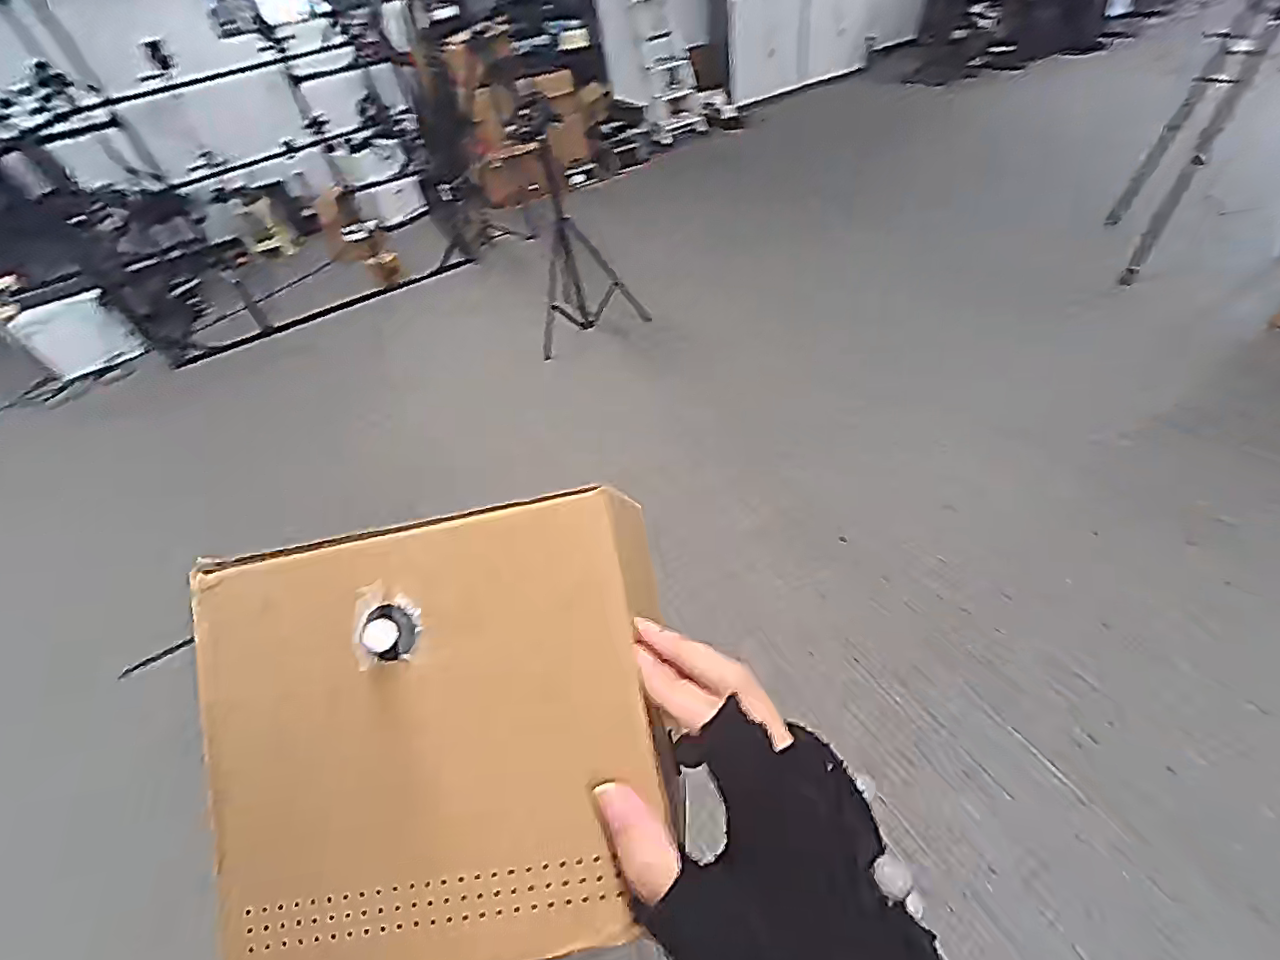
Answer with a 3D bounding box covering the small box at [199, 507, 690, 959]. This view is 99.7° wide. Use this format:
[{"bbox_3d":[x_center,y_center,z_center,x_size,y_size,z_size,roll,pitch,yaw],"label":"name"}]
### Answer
[{"bbox_3d":[-0.079,0.117,0.287,0.179,0.168,0.176,-12,84,6],"label":"small box"}]
